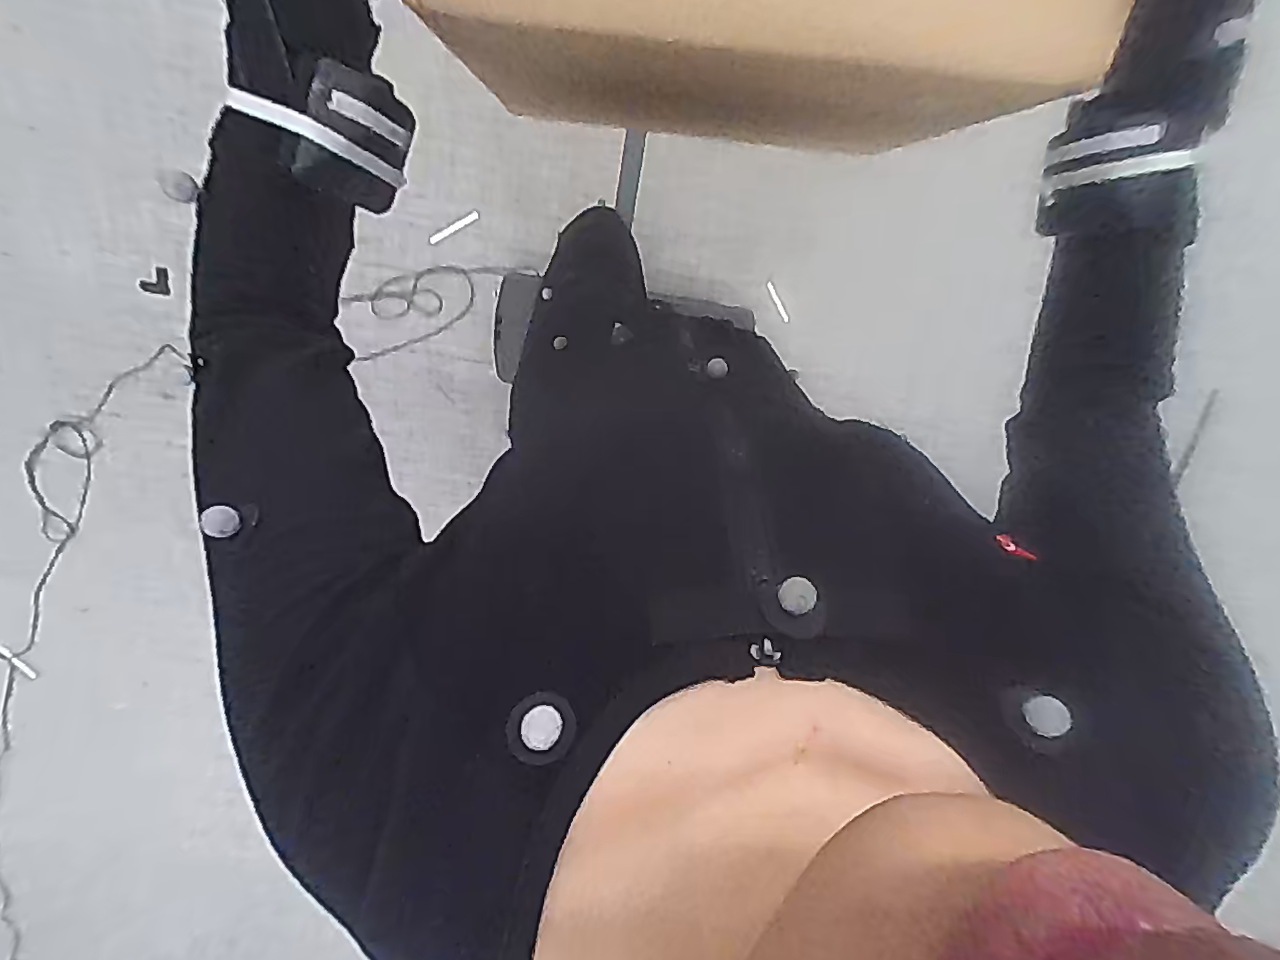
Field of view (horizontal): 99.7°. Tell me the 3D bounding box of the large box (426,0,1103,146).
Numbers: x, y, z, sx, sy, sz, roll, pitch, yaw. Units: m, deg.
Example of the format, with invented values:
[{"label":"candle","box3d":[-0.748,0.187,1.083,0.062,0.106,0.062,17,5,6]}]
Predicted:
[{"label":"large box","box3d":[0.074,-0.457,0.392,0.408,0.320,0.320,3,115,-5]}]
